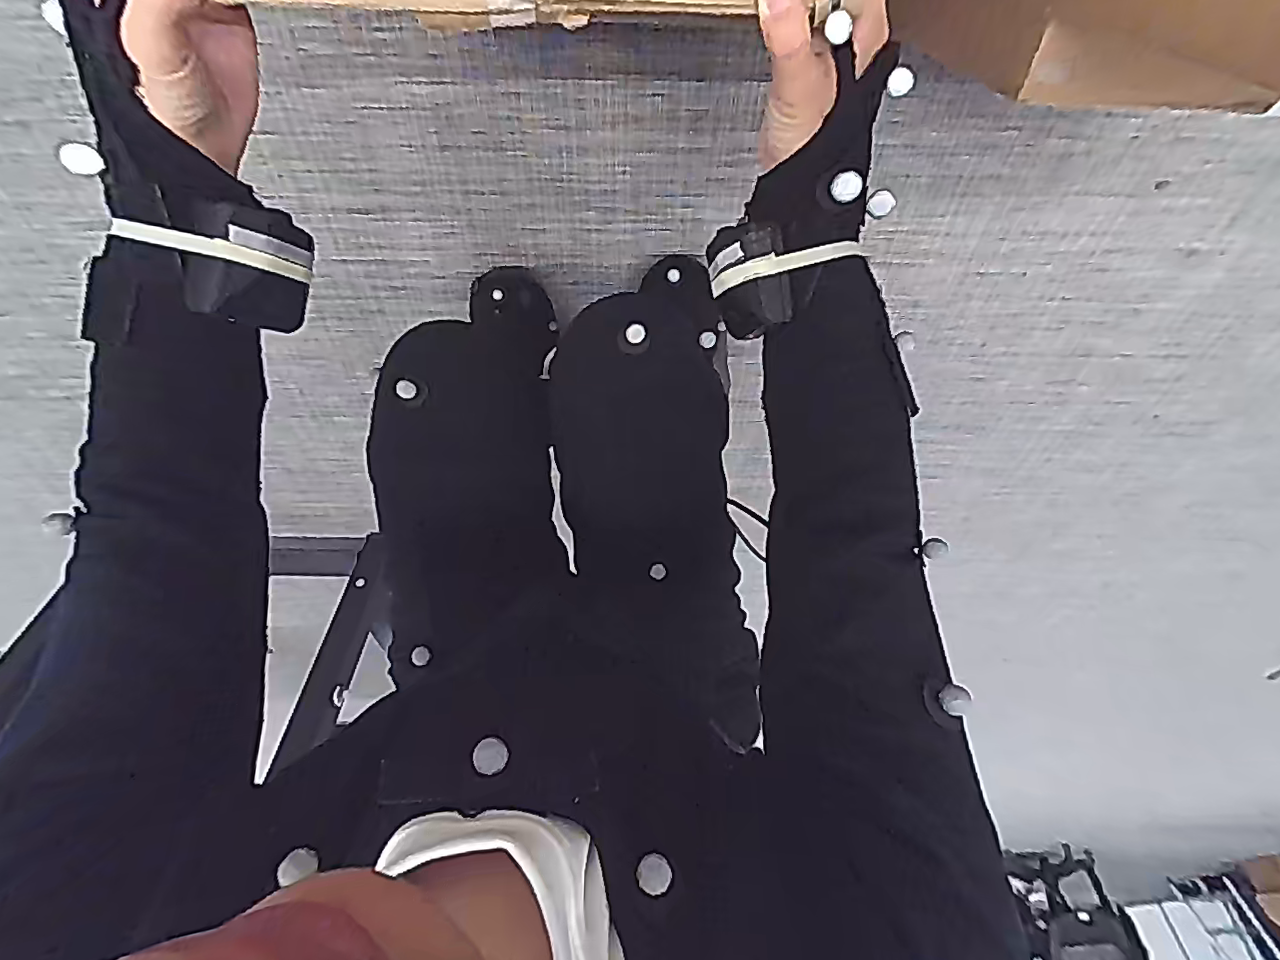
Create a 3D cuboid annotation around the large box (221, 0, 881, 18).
[{"bbox_3d":[-0.045,-0.461,0.225,0.320,0.320,0.408,0,131,0],"label":"large box"}]
